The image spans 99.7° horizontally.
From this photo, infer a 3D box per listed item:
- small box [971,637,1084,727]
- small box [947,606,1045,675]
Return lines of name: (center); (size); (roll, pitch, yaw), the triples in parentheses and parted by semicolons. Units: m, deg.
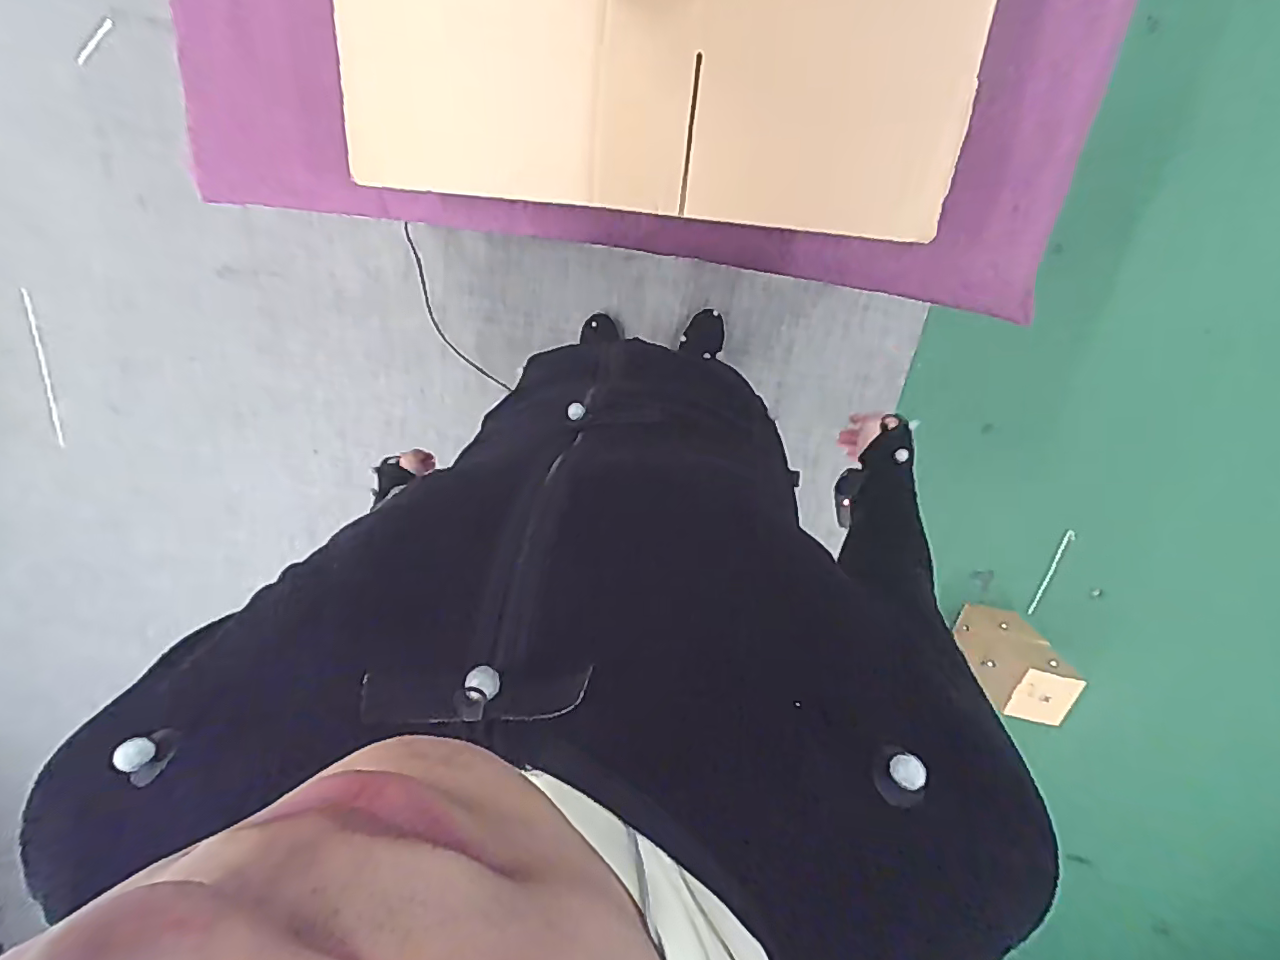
small box: (1.135, 0.590, 1.599); (0.179, 0.176, 0.168); (14, 110, -3)
small box: (1.145, 0.531, 1.753); (0.179, 0.176, 0.168); (12, 110, -2)
